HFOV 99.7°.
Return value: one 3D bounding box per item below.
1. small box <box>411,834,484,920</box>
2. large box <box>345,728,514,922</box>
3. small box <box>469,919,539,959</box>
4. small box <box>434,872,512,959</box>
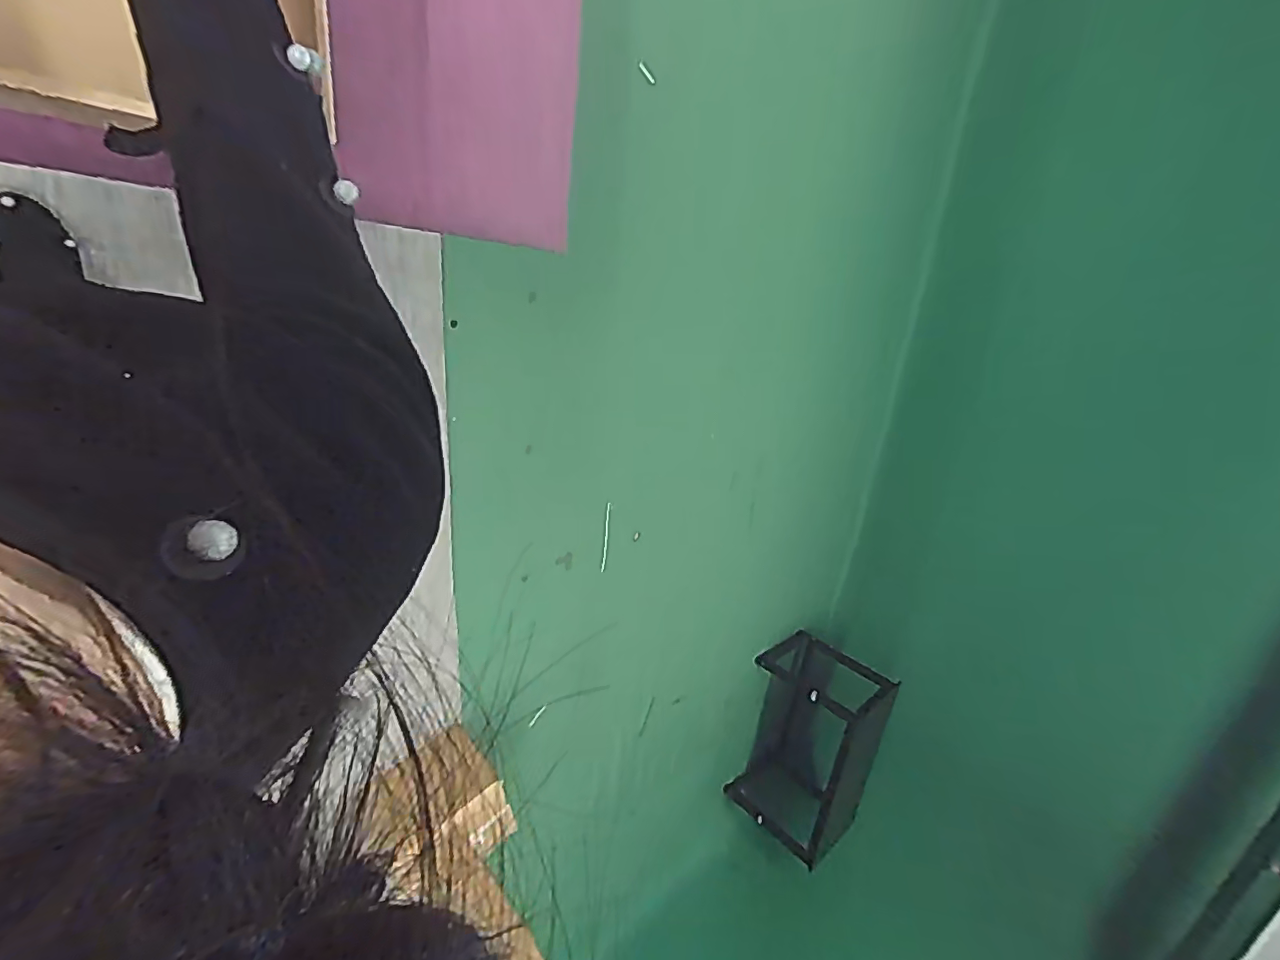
[{"bbox_3d":[-0.579,1.244,1.668,0.168,0.176,0.179,-28,126,-34],"label":"small box"},{"bbox_3d":[-0.713,1.163,1.861,0.408,0.320,0.320,-30,128,-35],"label":"large box"},{"bbox_3d":[-0.357,1.350,1.451,0.179,0.176,0.168,-27,126,-33],"label":"small box"},{"bbox_3d":[-0.471,1.298,1.558,0.179,0.176,0.168,-29,127,-34],"label":"small box"}]
